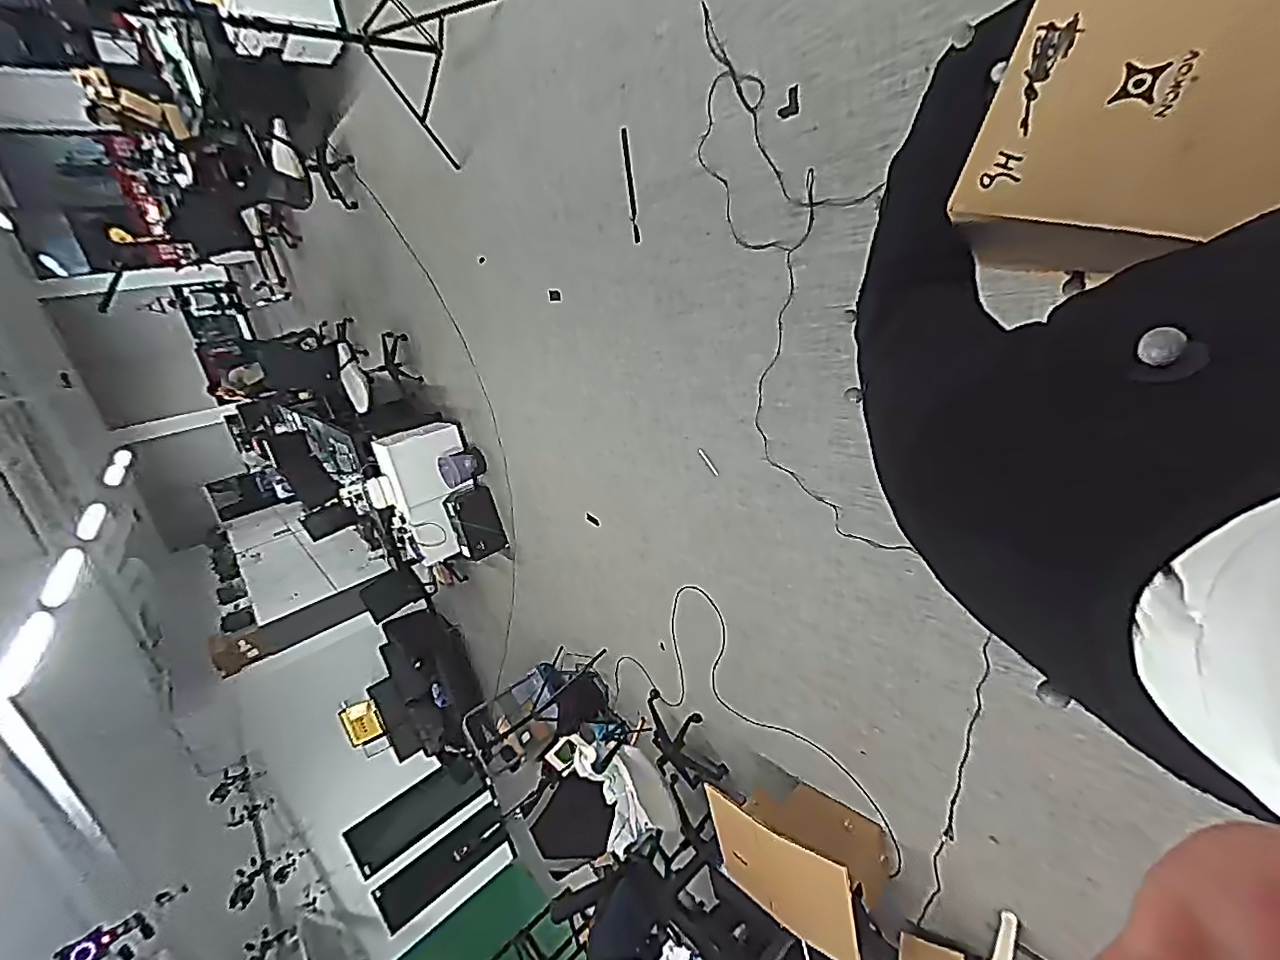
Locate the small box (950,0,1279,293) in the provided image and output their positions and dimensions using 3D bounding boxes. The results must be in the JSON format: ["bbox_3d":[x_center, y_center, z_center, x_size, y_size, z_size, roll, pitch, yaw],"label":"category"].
[{"bbox_3d":[0.364,-0.247,0.395,0.179,0.176,0.168,28,110,33],"label":"small box"}]
